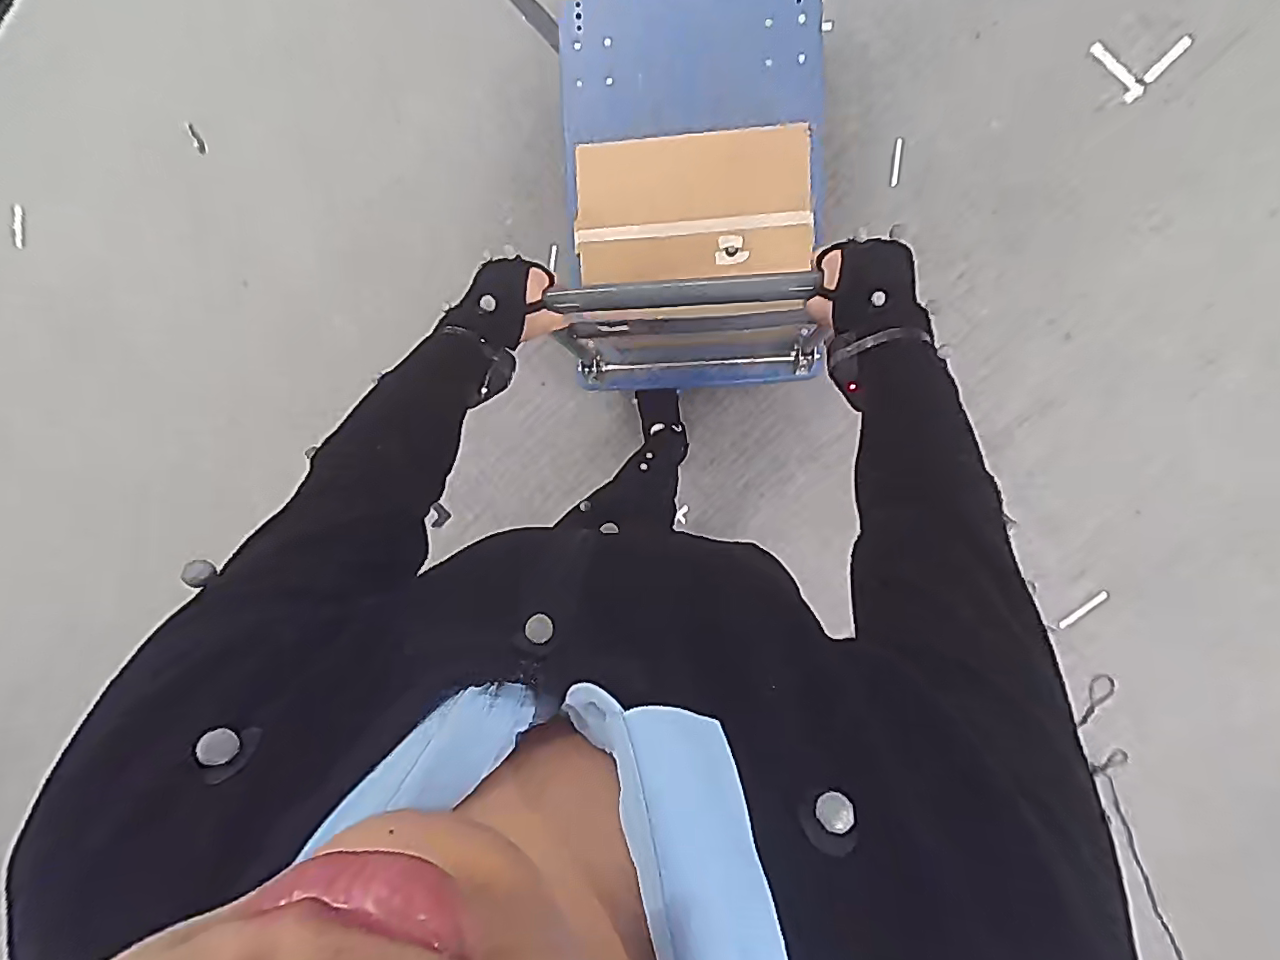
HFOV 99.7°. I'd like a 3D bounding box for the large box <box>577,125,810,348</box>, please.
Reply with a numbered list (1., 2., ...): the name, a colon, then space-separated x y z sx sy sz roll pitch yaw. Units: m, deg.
1. large box: 0.106 -0.457 1.096 0.408 0.320 0.320 -2 96 6
